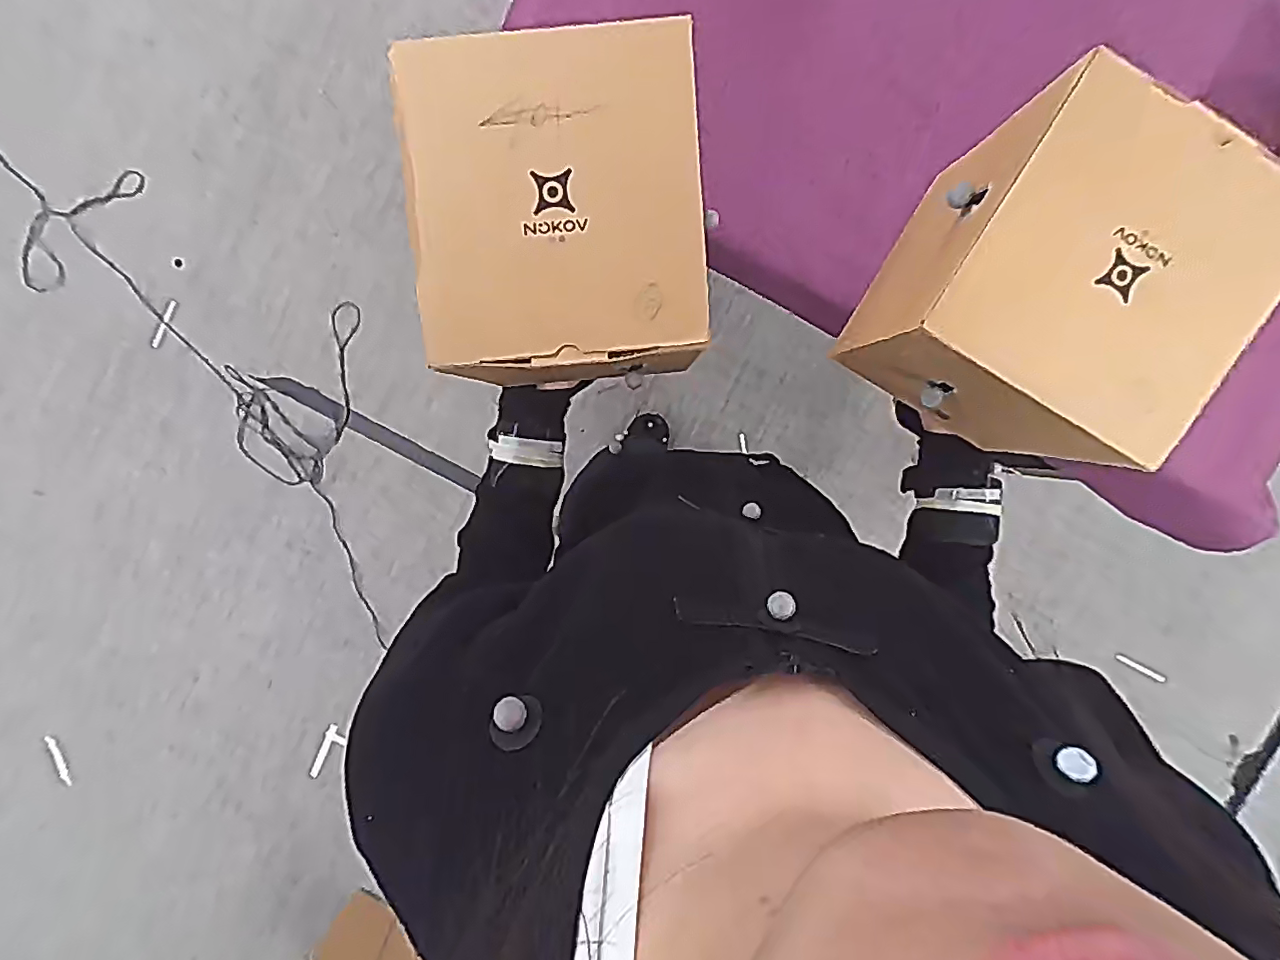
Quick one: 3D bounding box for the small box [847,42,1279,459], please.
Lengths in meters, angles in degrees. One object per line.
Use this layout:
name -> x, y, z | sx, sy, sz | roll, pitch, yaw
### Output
small box -> 0.275, -0.133, 0.384 | 0.168, 0.176, 0.179 | 30, 96, -2

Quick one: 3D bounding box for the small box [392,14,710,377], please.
small box -> -0.046, -0.167, 0.380 | 0.168, 0.176, 0.179 | -5, 96, 0
